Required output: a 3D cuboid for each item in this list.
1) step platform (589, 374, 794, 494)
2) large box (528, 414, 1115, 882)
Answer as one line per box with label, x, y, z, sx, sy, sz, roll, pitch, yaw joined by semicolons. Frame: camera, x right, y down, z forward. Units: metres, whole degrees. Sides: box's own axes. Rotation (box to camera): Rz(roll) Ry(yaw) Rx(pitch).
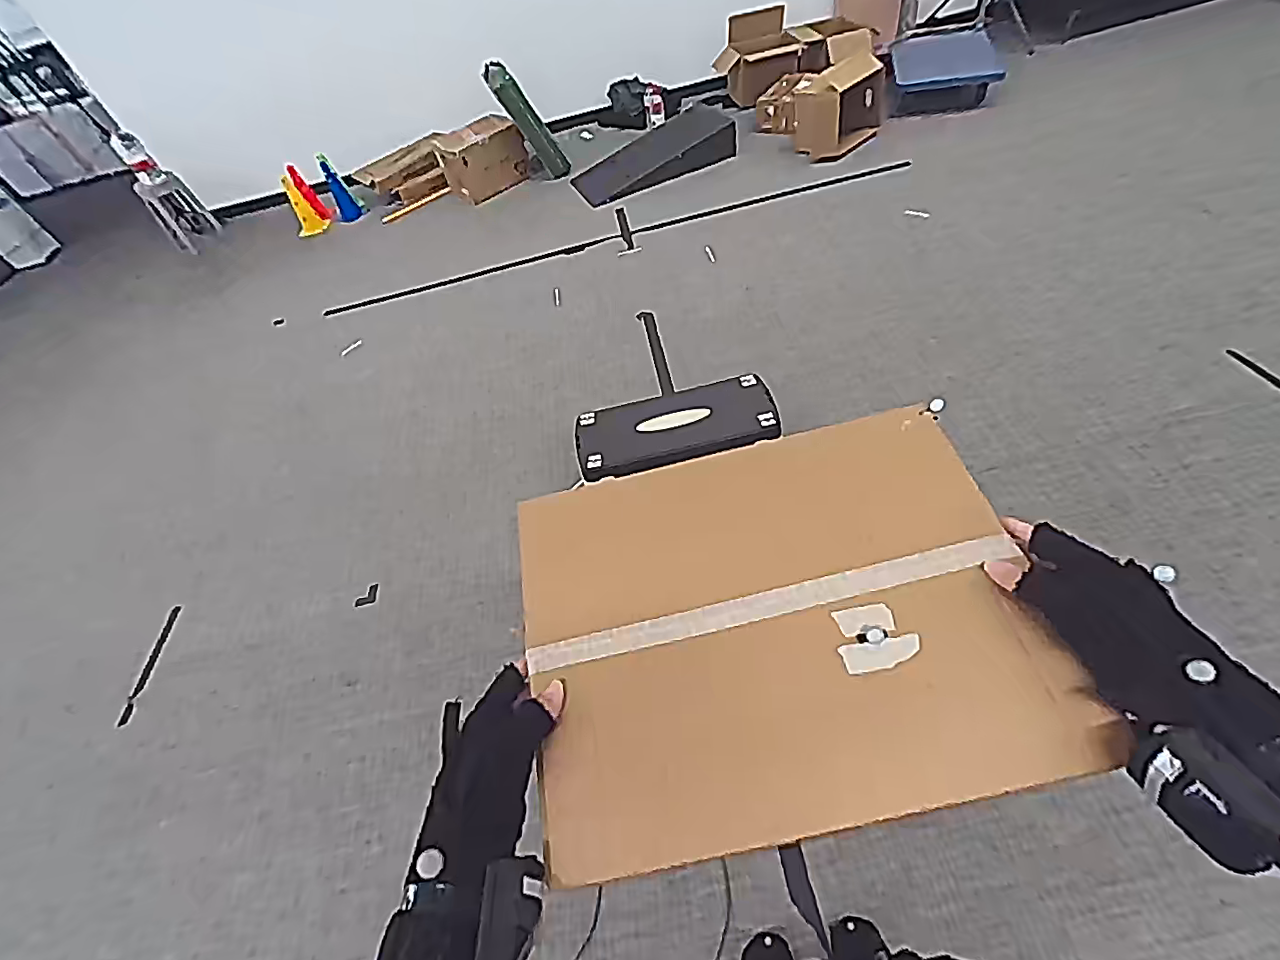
step platform;0.168;-0.142;1.853;0.684;0.204;0.286;-14;50;1
large box;0.130;0.186;0.578;0.408;0.320;0.320;-14;57;2
